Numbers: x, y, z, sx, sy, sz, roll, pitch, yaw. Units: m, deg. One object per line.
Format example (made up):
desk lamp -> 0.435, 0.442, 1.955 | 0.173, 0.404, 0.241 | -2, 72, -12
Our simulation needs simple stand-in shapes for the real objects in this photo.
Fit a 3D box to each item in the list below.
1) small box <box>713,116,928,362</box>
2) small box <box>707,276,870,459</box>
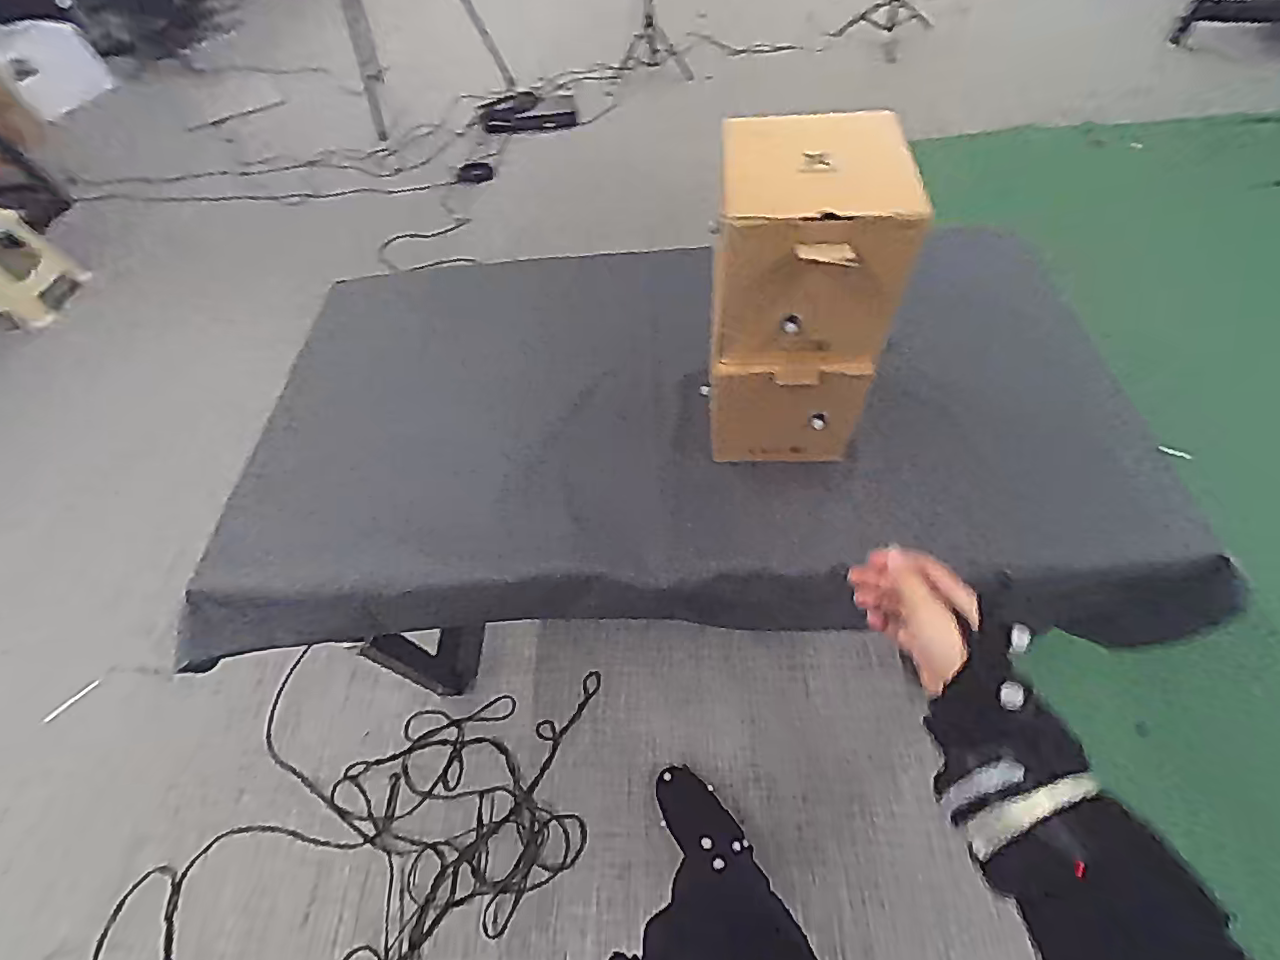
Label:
small box -> 0.163, -0.241, 0.556 | 0.168, 0.176, 0.179 | 1, 58, 5
small box -> 0.172, -0.139, 0.683 | 0.168, 0.176, 0.179 | 0, 56, 5
